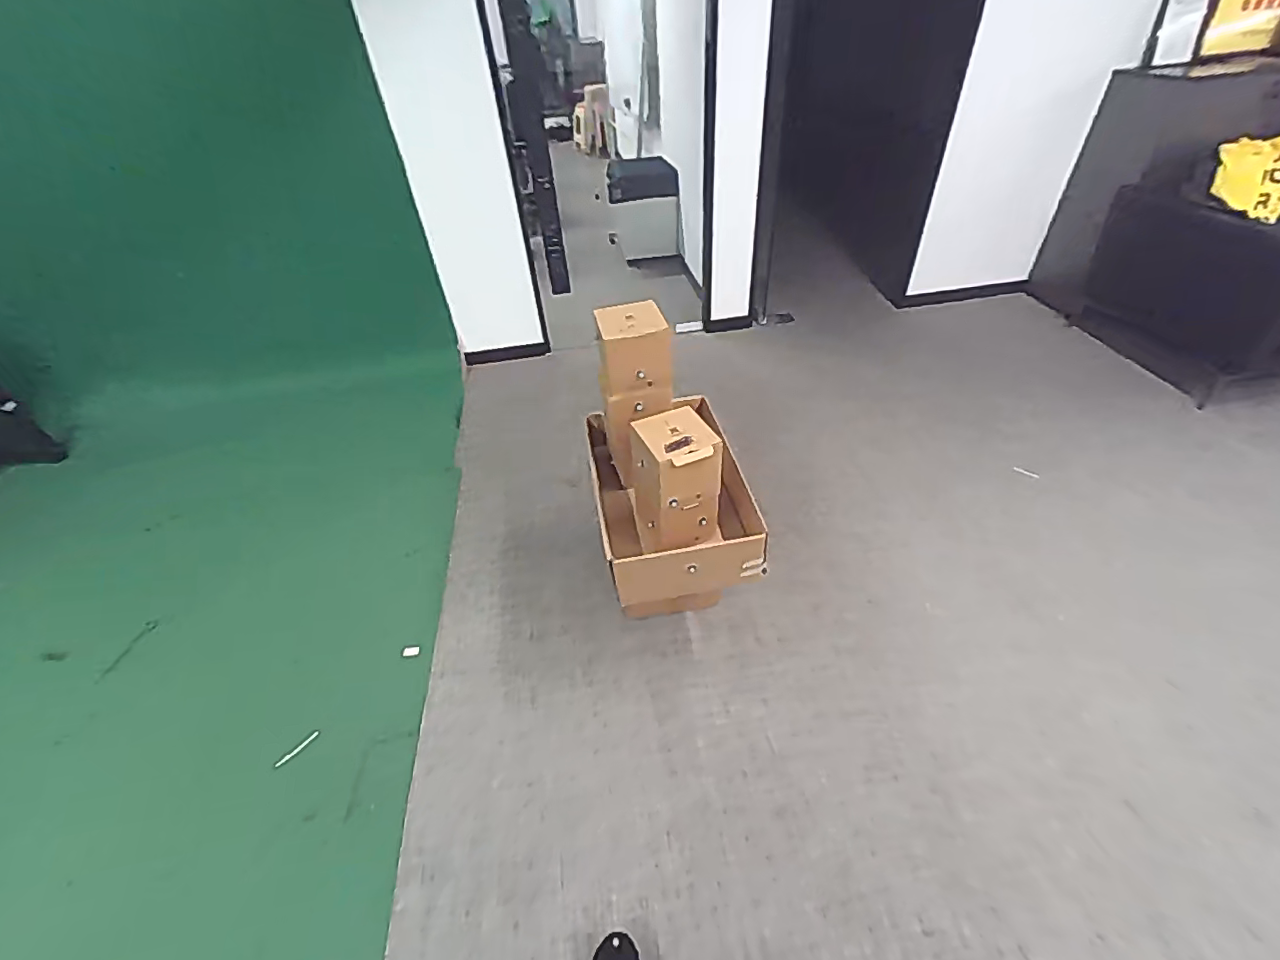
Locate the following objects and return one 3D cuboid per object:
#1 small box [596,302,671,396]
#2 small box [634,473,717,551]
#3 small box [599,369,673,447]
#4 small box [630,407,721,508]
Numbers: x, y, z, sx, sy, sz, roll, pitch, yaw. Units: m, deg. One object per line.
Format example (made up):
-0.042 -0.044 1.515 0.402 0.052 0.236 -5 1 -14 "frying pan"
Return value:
-0.018 -0.346 1.429 0.168 0.176 0.179 -12 44 -6 "small box"
0.095 0.070 1.454 0.168 0.176 0.179 -18 43 -15 "small box"
-0.010 -0.217 1.532 0.179 0.176 0.168 -13 43 -7 "small box"
0.087 -0.049 1.342 0.168 0.176 0.179 -18 43 -15 "small box"
